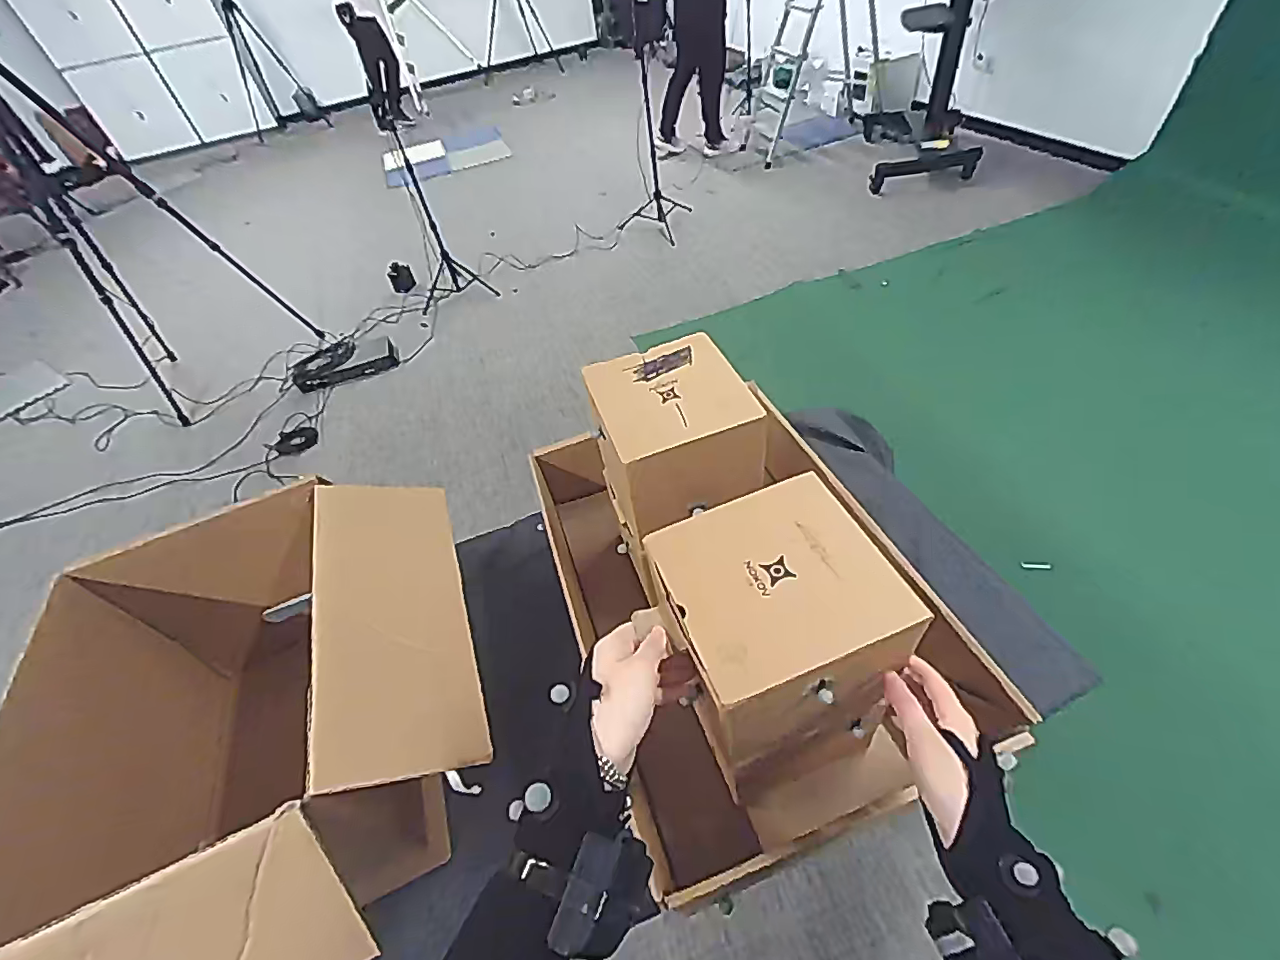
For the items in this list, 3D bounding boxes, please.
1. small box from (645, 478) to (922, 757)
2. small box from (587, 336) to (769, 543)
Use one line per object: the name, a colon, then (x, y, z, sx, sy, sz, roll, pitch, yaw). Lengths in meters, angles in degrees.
small box: (0.122, 0.133, 0.511, 0.179, 0.176, 0.168, -20, 50, -7)
small box: (0.044, -0.046, 0.679, 0.168, 0.176, 0.179, -18, 50, -7)
